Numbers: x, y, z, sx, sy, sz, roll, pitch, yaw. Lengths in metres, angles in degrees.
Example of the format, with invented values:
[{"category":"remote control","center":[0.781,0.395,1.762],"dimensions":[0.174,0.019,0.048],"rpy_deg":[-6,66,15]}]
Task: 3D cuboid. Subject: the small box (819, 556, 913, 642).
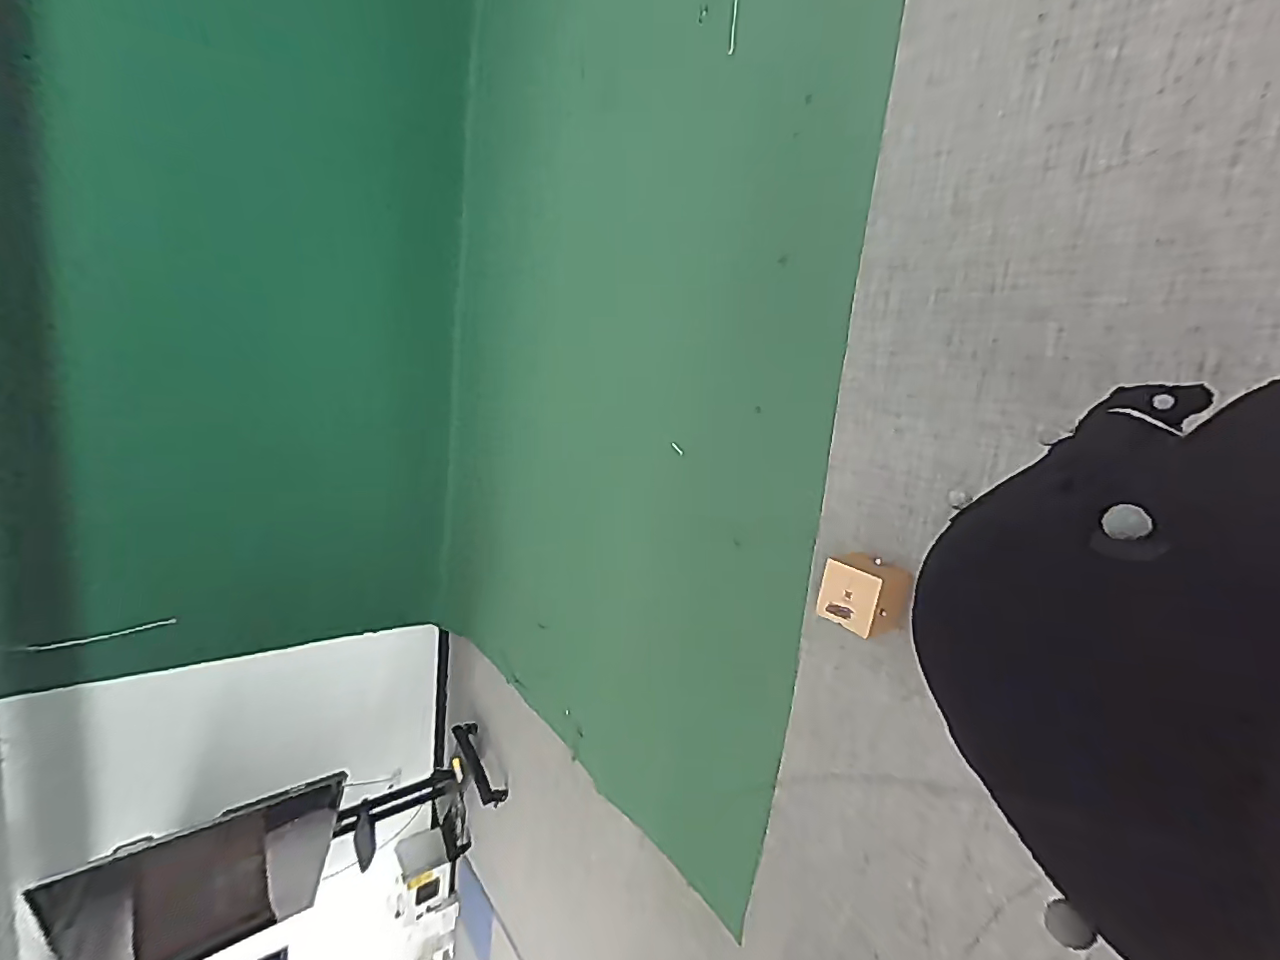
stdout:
[{"category":"small box","center":[0.635,0.324,1.513],"dimensions":[0.168,0.176,0.179],"rpy_deg":[22,106,49]}]
